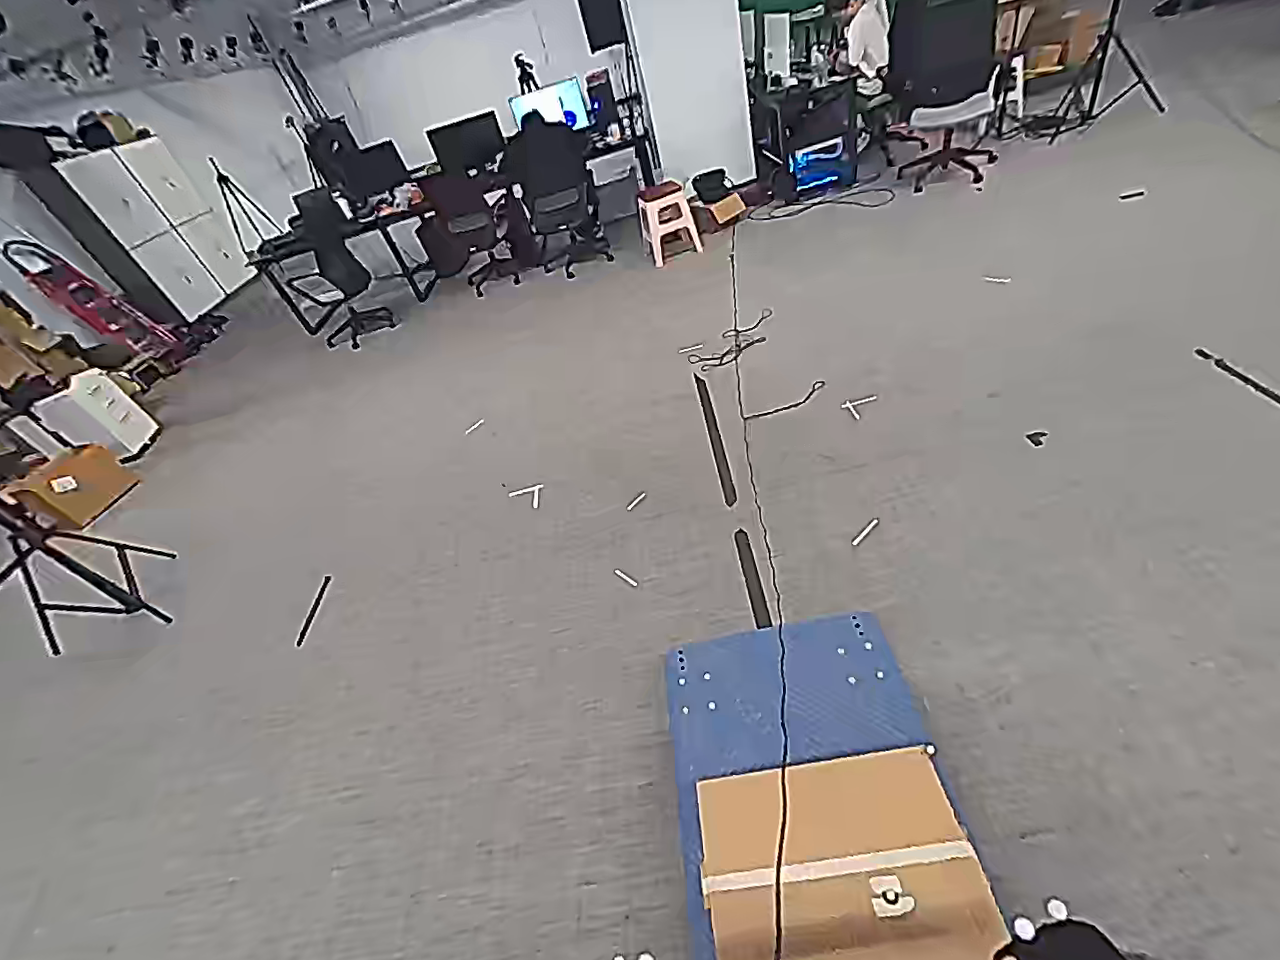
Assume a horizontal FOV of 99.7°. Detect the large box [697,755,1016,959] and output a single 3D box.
[{"bbox_3d":[0.337,0.722,0.919,0.408,0.320,0.320,-13,39,7],"label":"large box"}]
